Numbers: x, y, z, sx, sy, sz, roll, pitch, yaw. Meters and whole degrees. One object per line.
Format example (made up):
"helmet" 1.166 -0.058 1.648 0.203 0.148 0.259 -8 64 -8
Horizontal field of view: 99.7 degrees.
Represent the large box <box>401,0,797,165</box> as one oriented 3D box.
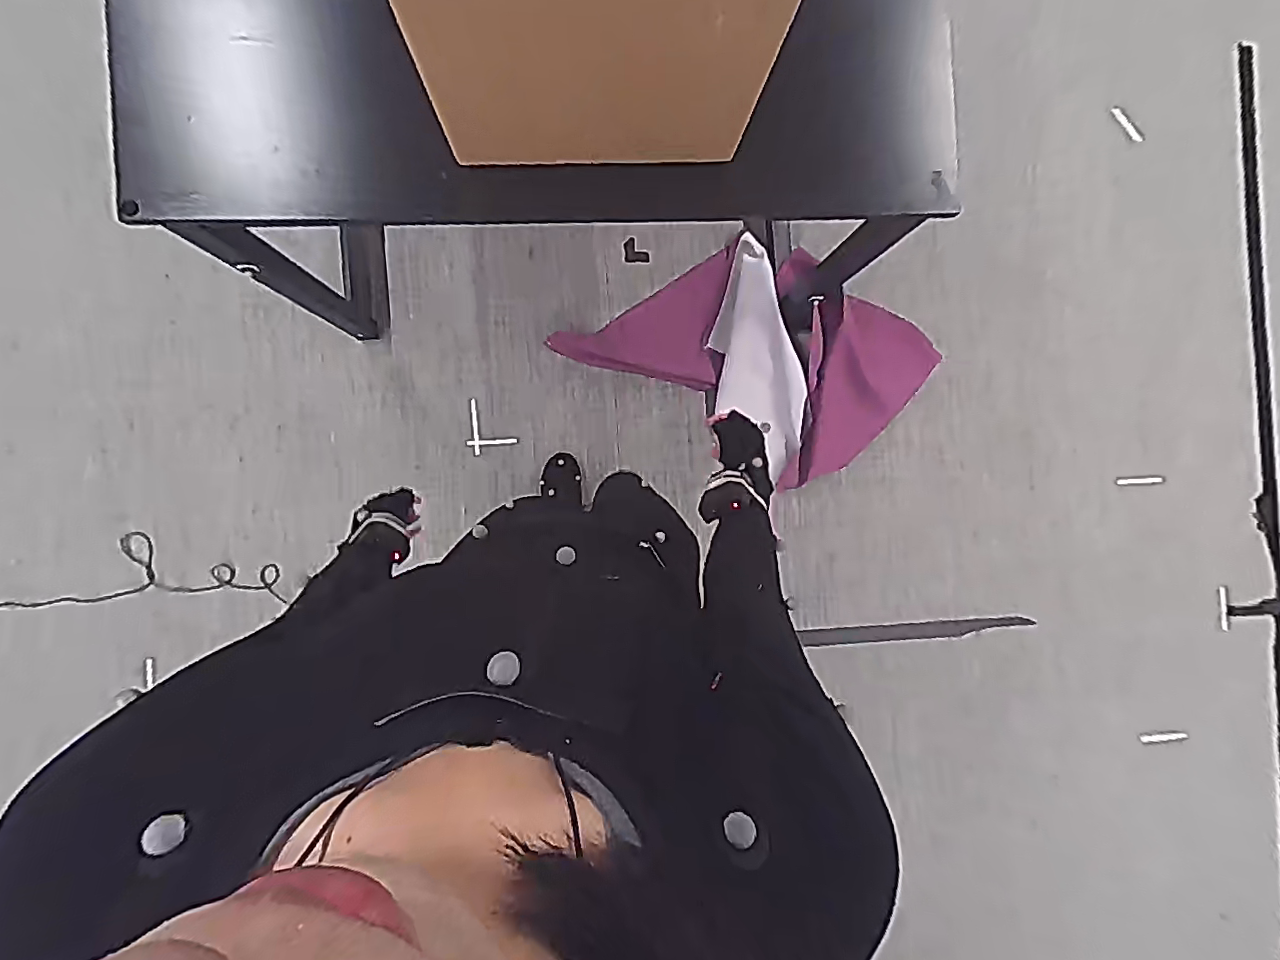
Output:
"large box" -0.060 -0.616 0.642 0.408 0.320 0.320 -5 91 -6
